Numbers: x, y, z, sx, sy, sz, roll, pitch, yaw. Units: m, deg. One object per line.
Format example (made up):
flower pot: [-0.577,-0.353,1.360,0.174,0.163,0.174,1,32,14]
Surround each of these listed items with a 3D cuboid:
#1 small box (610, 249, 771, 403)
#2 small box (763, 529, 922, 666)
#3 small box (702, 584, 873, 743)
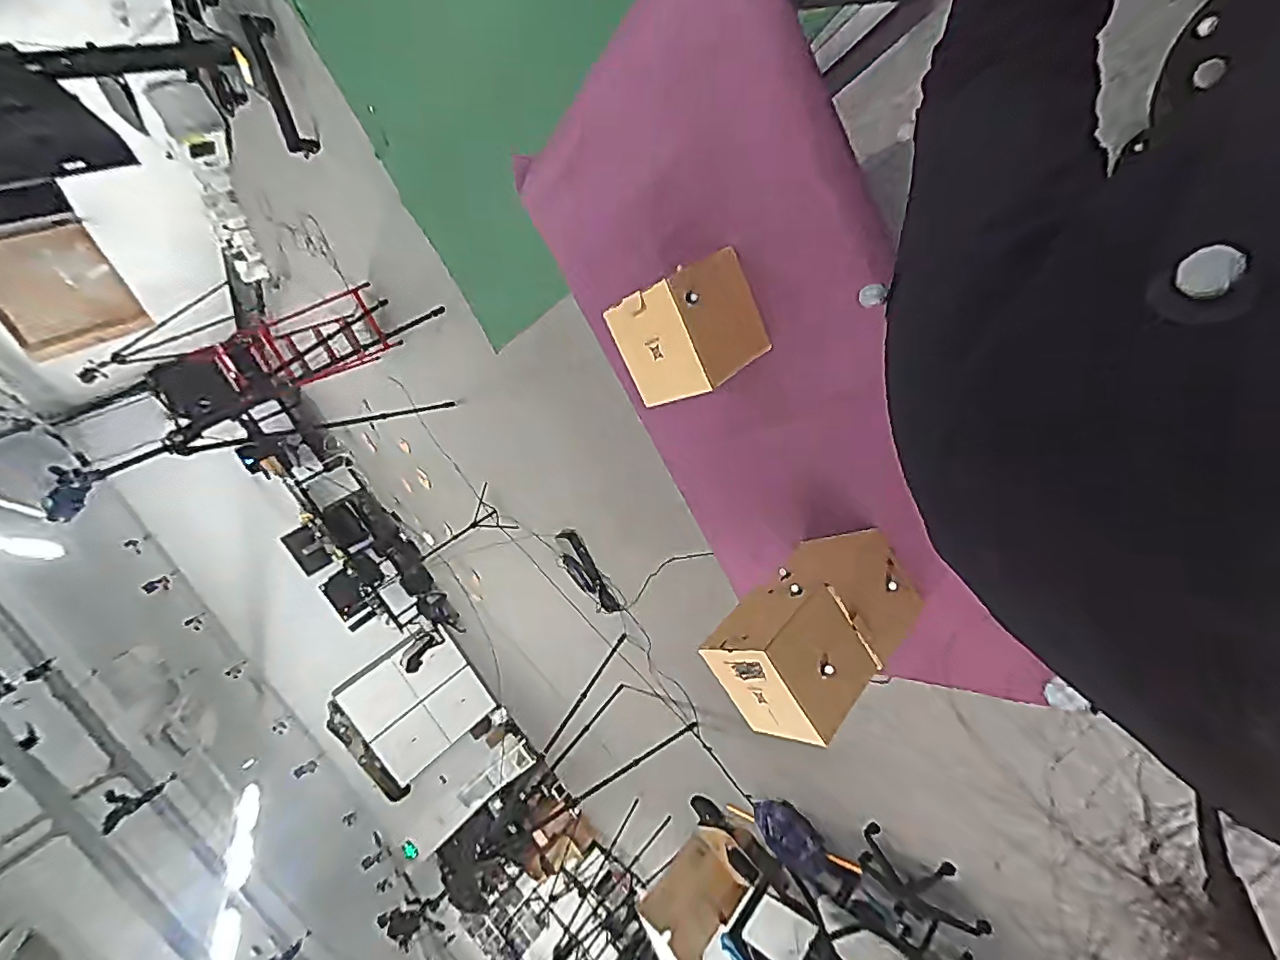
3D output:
small box: [0.088,-0.250,0.895,0.168,0.176,0.179,-5,116,54]
small box: [0.361,0.206,0.969,0.168,0.176,0.179,57,148,-5]
small box: [0.240,0.284,0.883,0.179,0.176,0.168,59,150,-7]
